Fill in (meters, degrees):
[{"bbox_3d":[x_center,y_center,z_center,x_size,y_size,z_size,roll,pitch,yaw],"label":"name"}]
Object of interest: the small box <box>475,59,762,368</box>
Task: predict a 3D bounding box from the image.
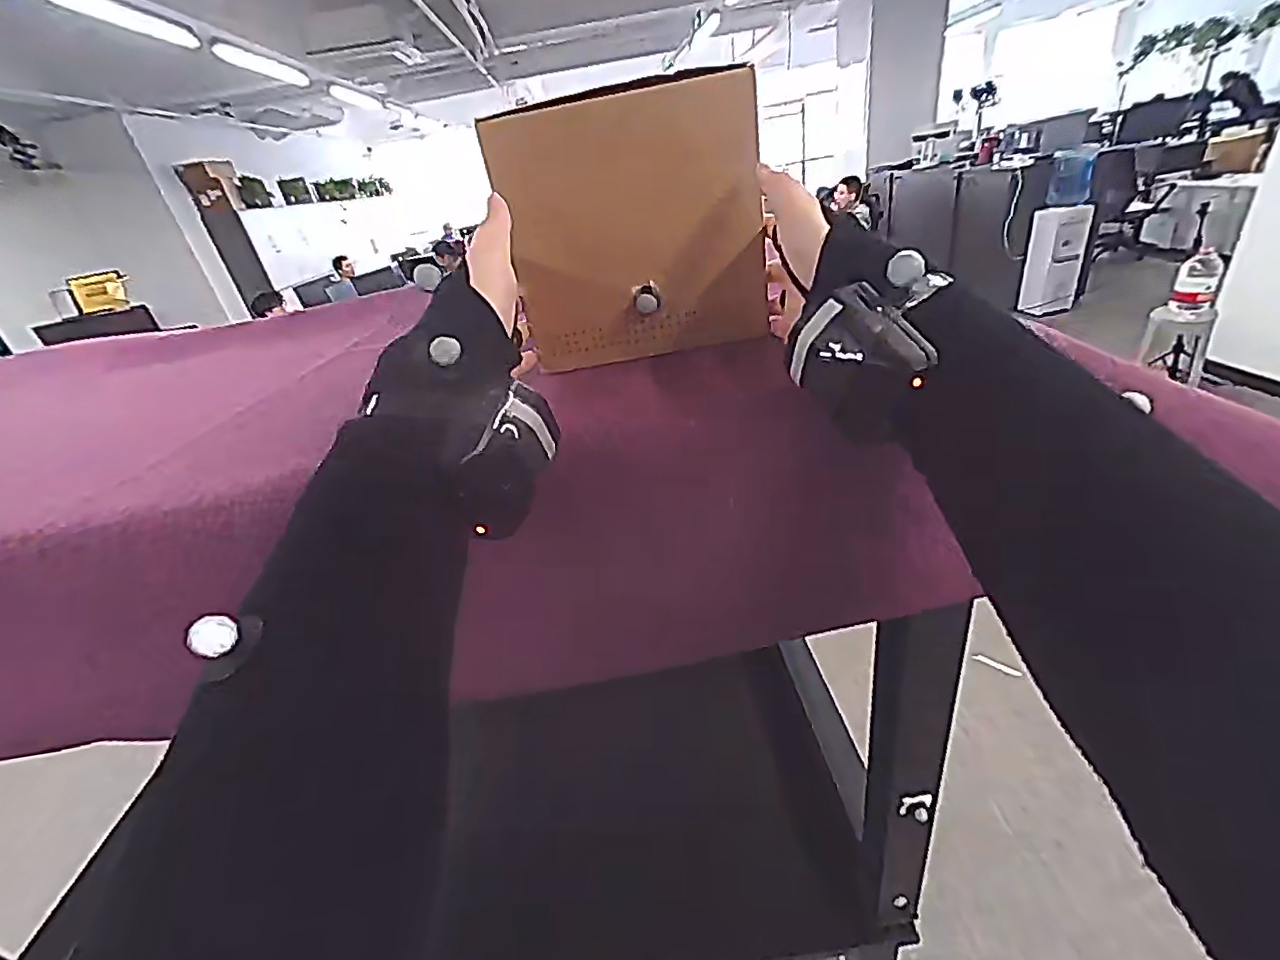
[{"bbox_3d":[-0.005,-0.202,0.429,0.179,0.176,0.168,-9,28,3],"label":"small box"}]
